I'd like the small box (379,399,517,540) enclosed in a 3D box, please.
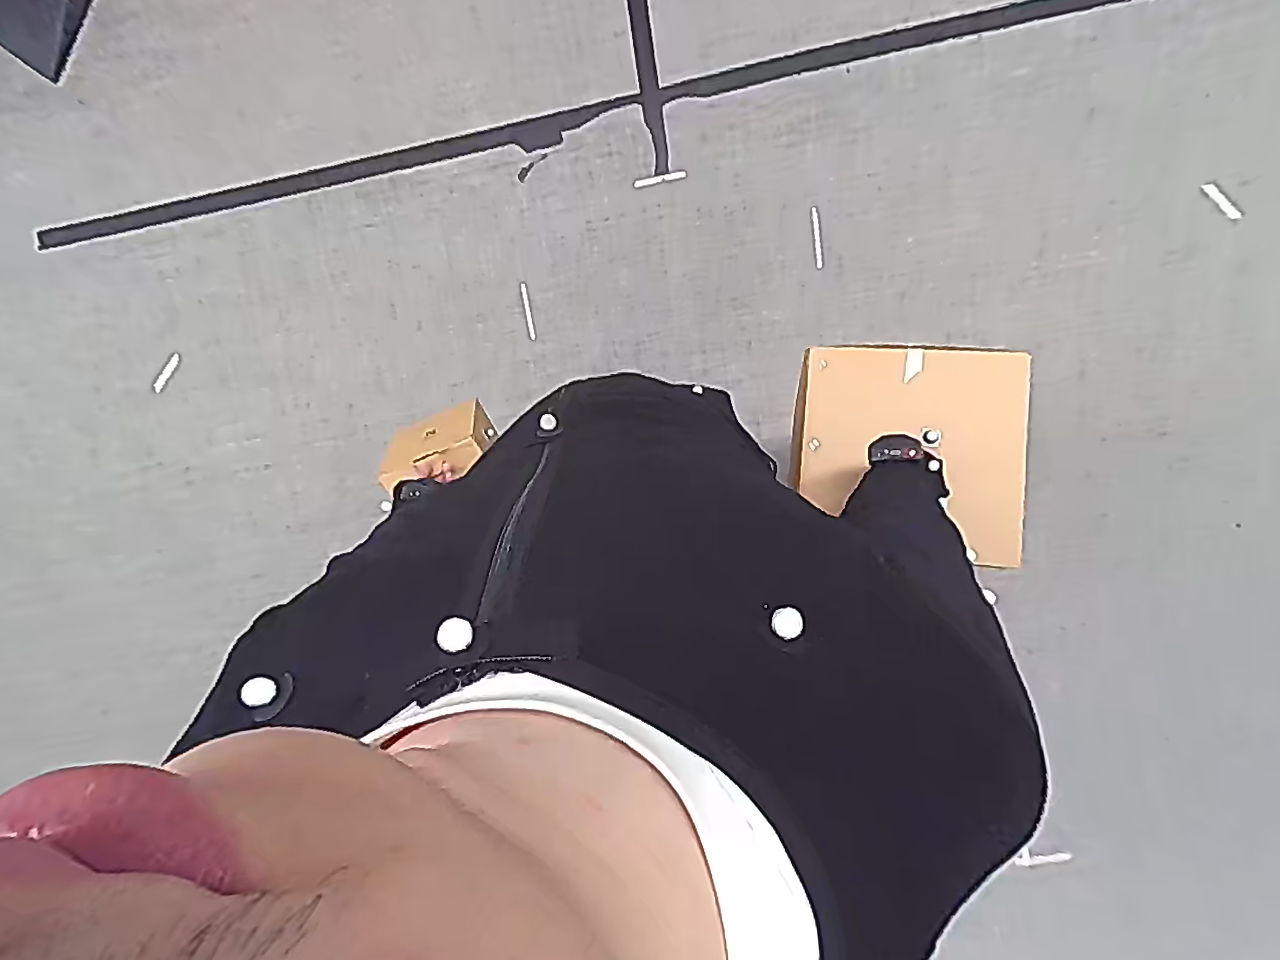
[{"bbox_3d":[-0.332,-0.013,0.971,0.168,0.179,0.176,-23,122,-1],"label":"small box"}]
